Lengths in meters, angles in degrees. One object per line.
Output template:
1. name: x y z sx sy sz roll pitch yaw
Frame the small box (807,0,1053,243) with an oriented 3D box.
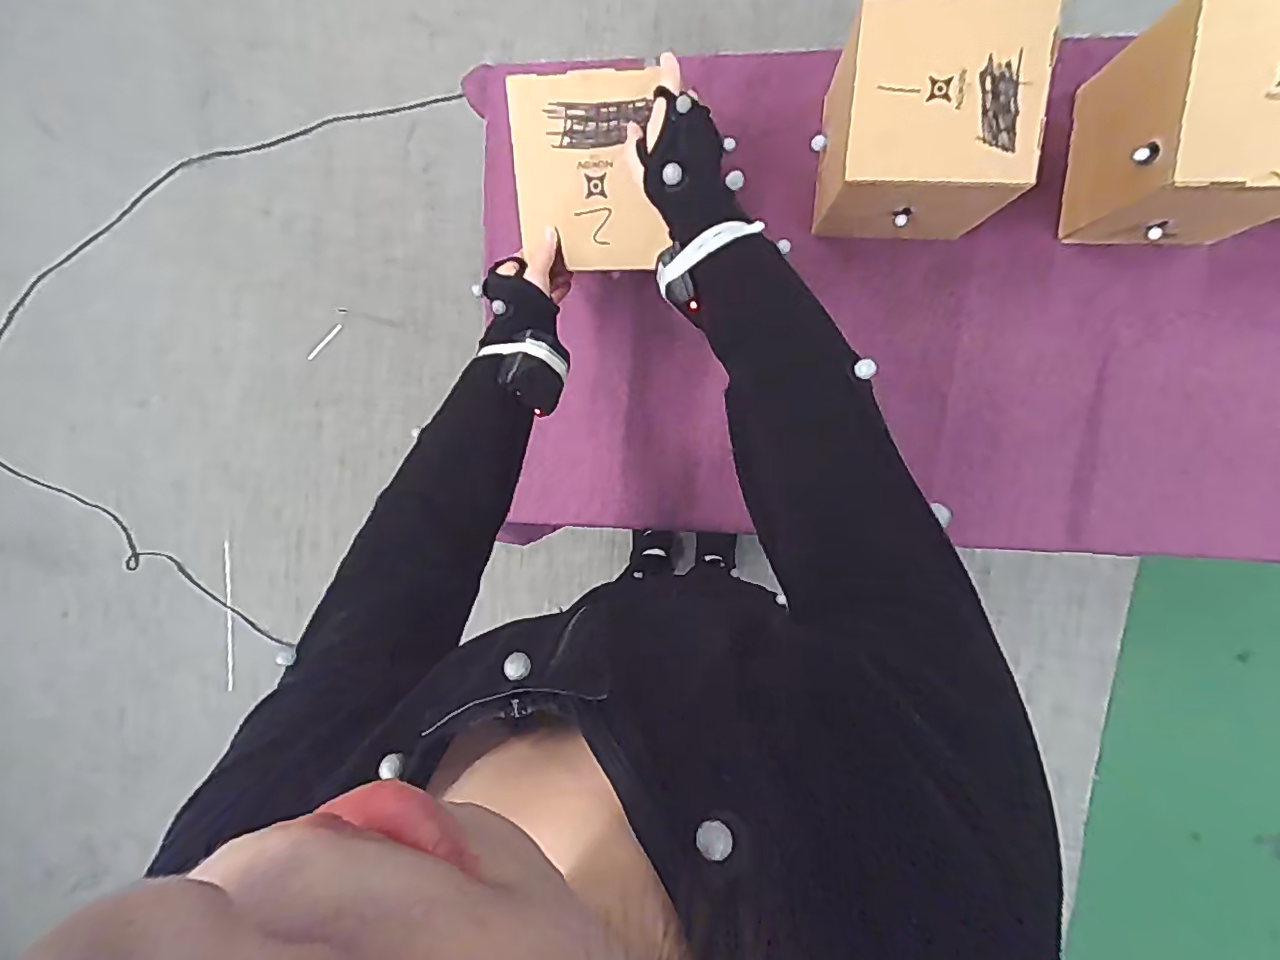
1. small box: 0.292 -0.369 0.586 0.179 0.176 0.168 5 97 7

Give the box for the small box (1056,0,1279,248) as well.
1. small box: 0.572 -0.356 0.556 0.168 0.176 0.179 3 98 7
